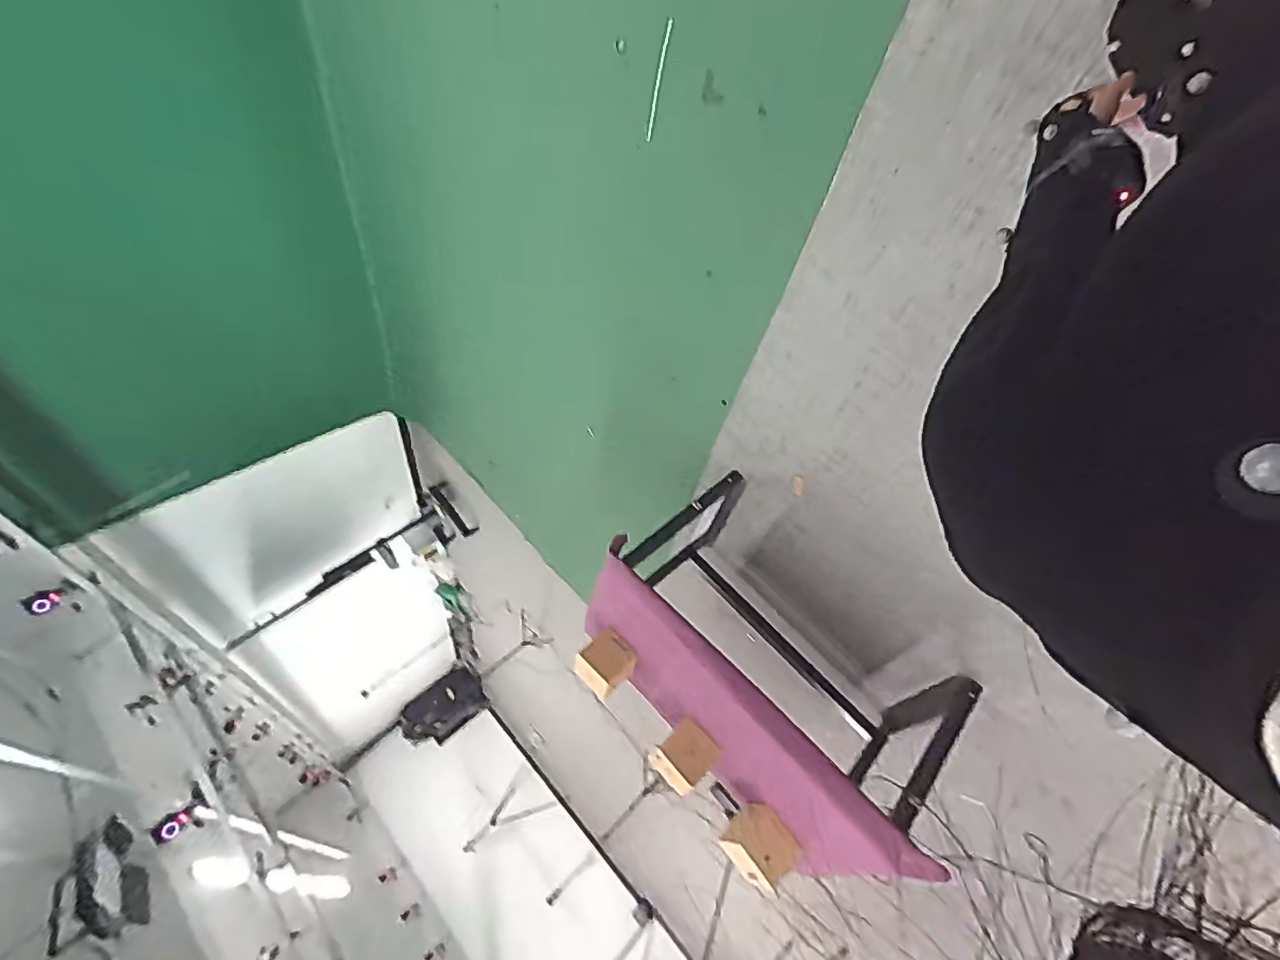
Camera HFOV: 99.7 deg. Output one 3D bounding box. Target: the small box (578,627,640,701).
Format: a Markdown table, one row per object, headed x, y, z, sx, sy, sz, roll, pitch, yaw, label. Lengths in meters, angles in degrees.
| x | y | z | sx | sy | sz | roll | pitch | yaw | label |
| --- | --- | --- | --- | --- | --- | --- | --- | --- | --- |
| -0.119 | 0.705 | 2.080 | 0.168 | 0.176 | 0.179 | 39 | 142 | 21 | small box |

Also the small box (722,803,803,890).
| x | y | z | sx | sy | sz | roll | pitch | yaw | label |
| --- | --- | --- | --- | --- | --- | --- | --- | --- | --- |
| 0.425 | 1.254 | 1.861 | 0.179 | 0.176 | 0.168 | 51 | 146 | 9 | small box |

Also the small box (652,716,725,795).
| x | y | z | sx | sy | sz | roll | pitch | yaw | label |
| --- | --- | --- | --- | --- | --- | --- | --- | --- | --- |
| 0.177 | 0.996 | 1.956 | 0.179 | 0.176 | 0.168 | 42 | 143 | 19 | small box |
